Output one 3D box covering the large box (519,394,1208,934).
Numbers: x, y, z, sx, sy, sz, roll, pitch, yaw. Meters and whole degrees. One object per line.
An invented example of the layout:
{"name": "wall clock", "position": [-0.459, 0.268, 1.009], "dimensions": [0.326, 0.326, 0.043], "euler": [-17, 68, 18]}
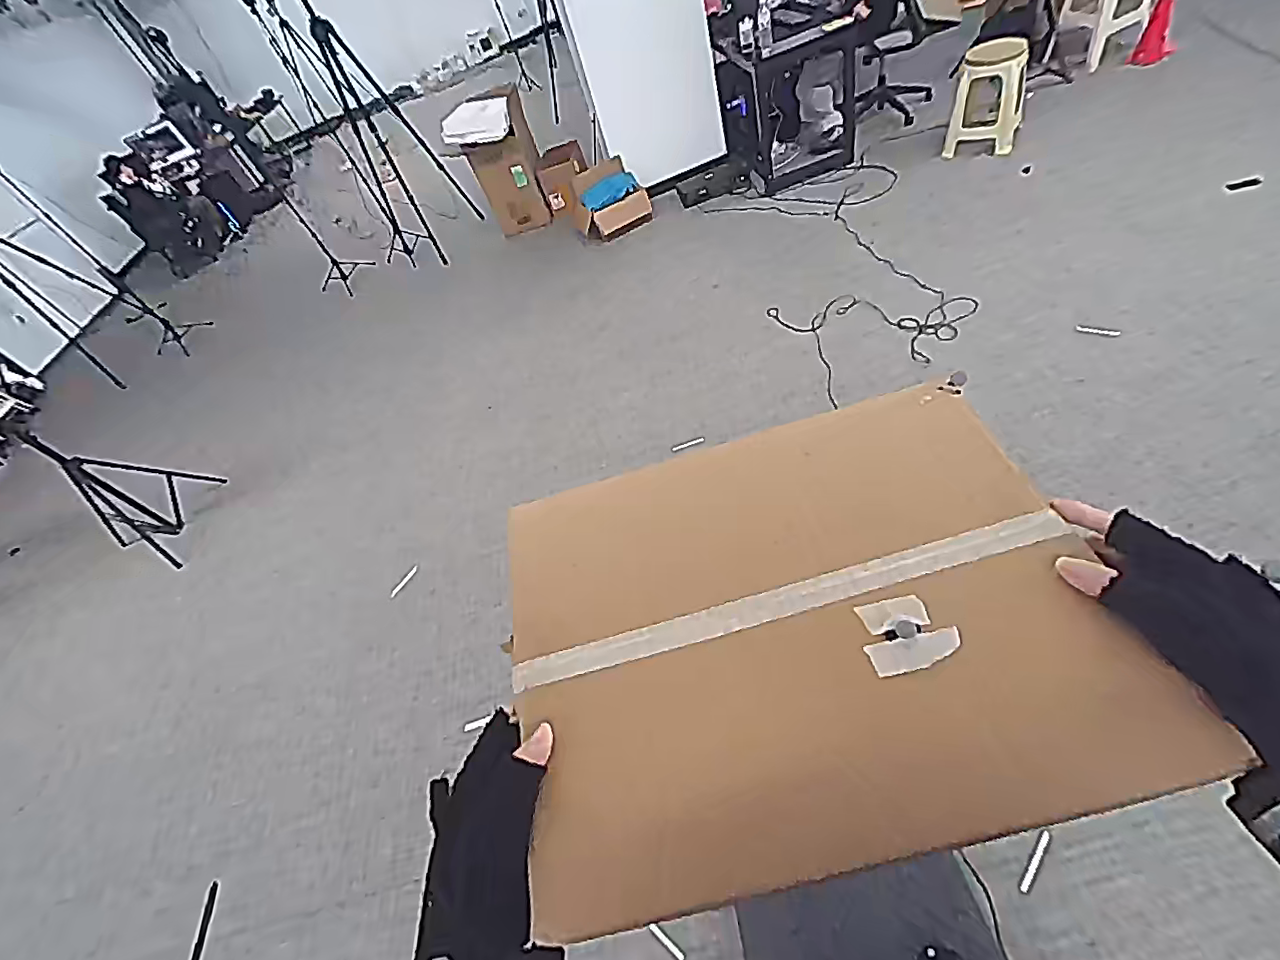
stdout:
{"name": "large box", "position": [0.136, 0.182, 0.522], "dimensions": [0.408, 0.320, 0.320], "euler": [-17, 53, 3]}
